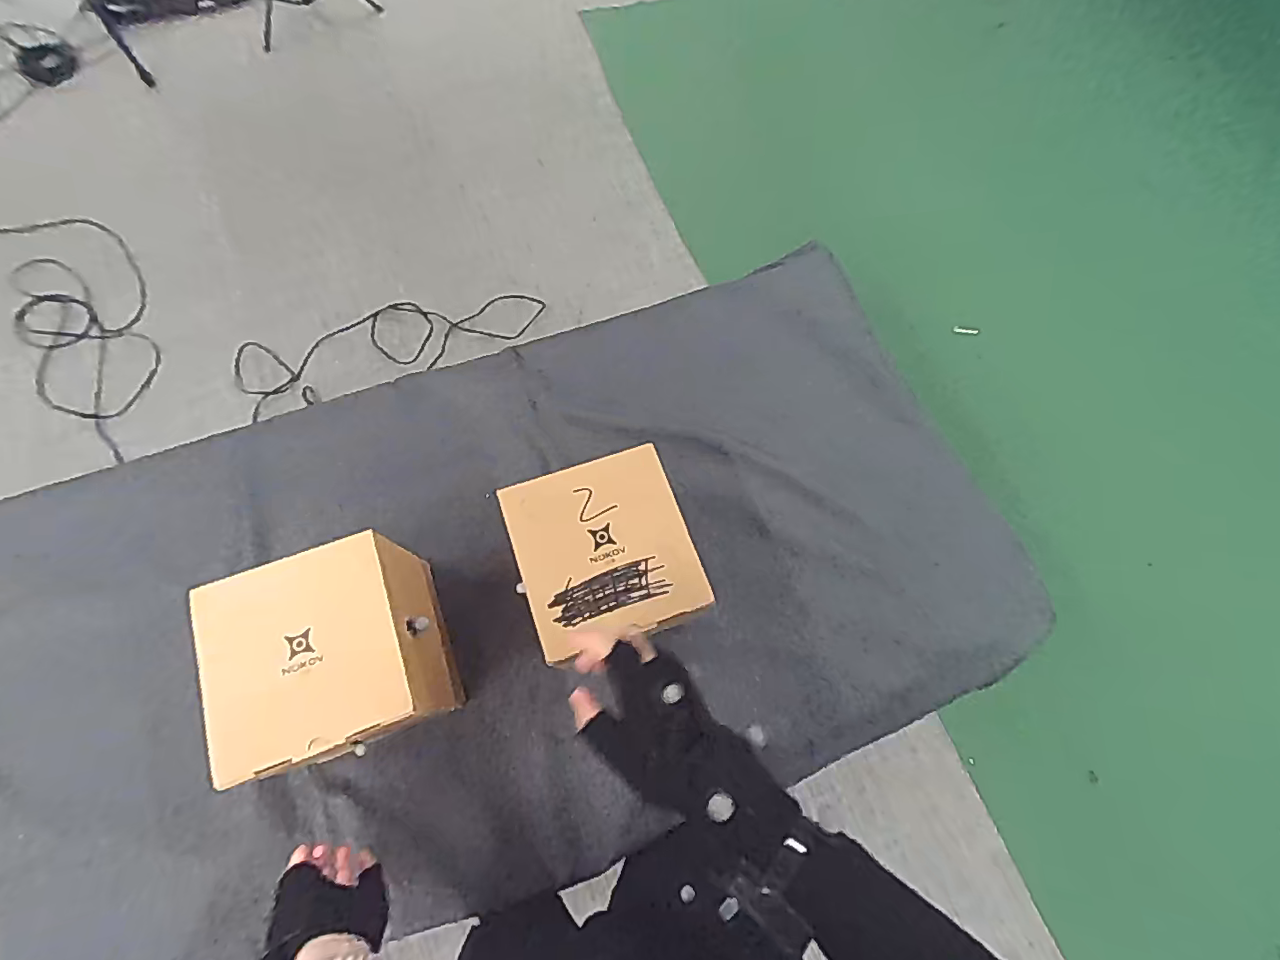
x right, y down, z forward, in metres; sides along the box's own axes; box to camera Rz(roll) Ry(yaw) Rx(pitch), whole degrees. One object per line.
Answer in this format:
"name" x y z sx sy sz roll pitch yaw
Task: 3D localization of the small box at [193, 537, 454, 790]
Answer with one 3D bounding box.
"small box" -0.307 0.181 0.553 0.168 0.176 0.179 -17 73 -11
